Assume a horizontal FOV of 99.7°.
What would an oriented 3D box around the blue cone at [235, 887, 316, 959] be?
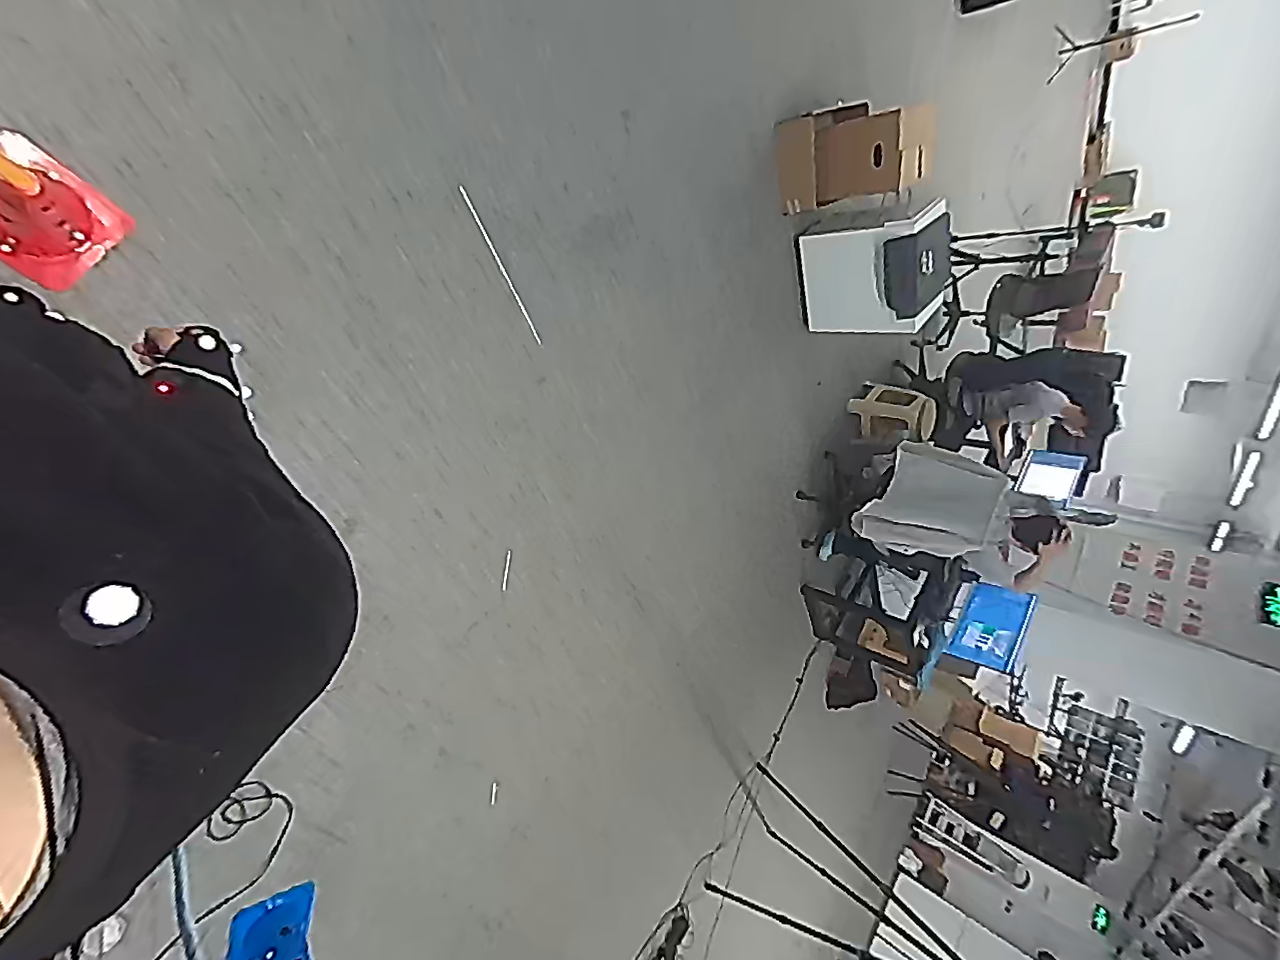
[{"bbox_3d":[-0.896,1.291,1.410,0.193,0.380,0.192,3,98,-50],"label":"blue cone"}]
